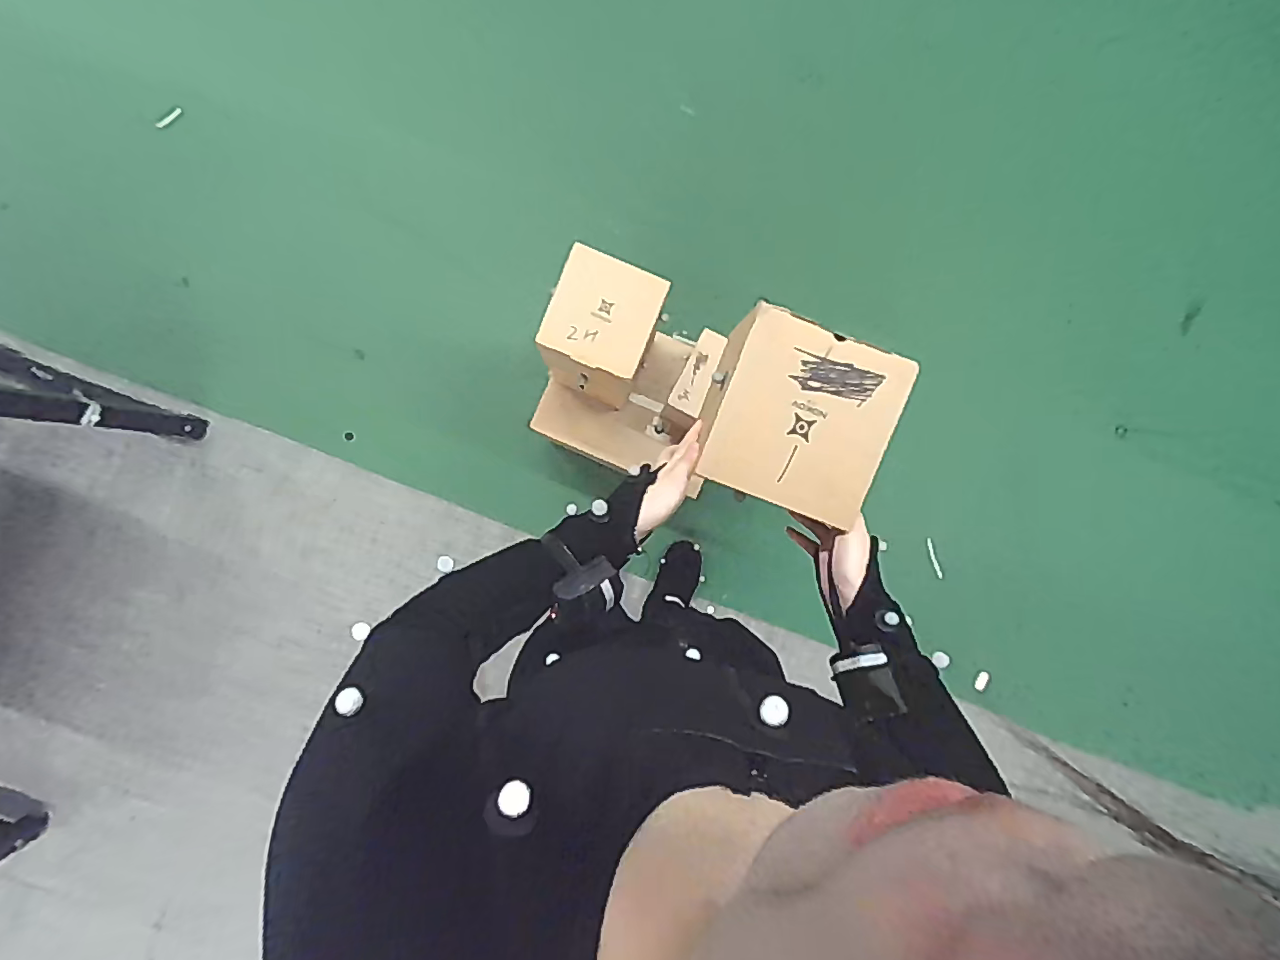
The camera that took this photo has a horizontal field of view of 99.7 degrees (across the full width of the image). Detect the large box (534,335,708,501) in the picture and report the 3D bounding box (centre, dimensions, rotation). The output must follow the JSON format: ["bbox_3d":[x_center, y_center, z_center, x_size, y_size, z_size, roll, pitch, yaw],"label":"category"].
[{"bbox_3d":[-0.003,-0.164,1.332,0.408,0.320,0.320,23,89,-3],"label":"large box"}]

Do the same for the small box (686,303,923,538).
[{"bbox_3d":[0.155,-0.061,0.580,0.168,0.176,0.179,21,96,-1],"label":"small box"}]

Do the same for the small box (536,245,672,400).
[{"bbox_3d":[-0.061,-0.256,0.923,0.168,0.176,0.179,23,88,-2],"label":"small box"}]

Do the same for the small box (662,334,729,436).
[{"bbox_3d":[0.161,-0.164,1.094,0.179,0.176,0.168,28,87,-1],"label":"small box"}]

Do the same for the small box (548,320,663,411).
[{"bbox_3d":[-0.070,-0.257,1.088,0.168,0.176,0.179,23,88,-3],"label":"small box"}]
